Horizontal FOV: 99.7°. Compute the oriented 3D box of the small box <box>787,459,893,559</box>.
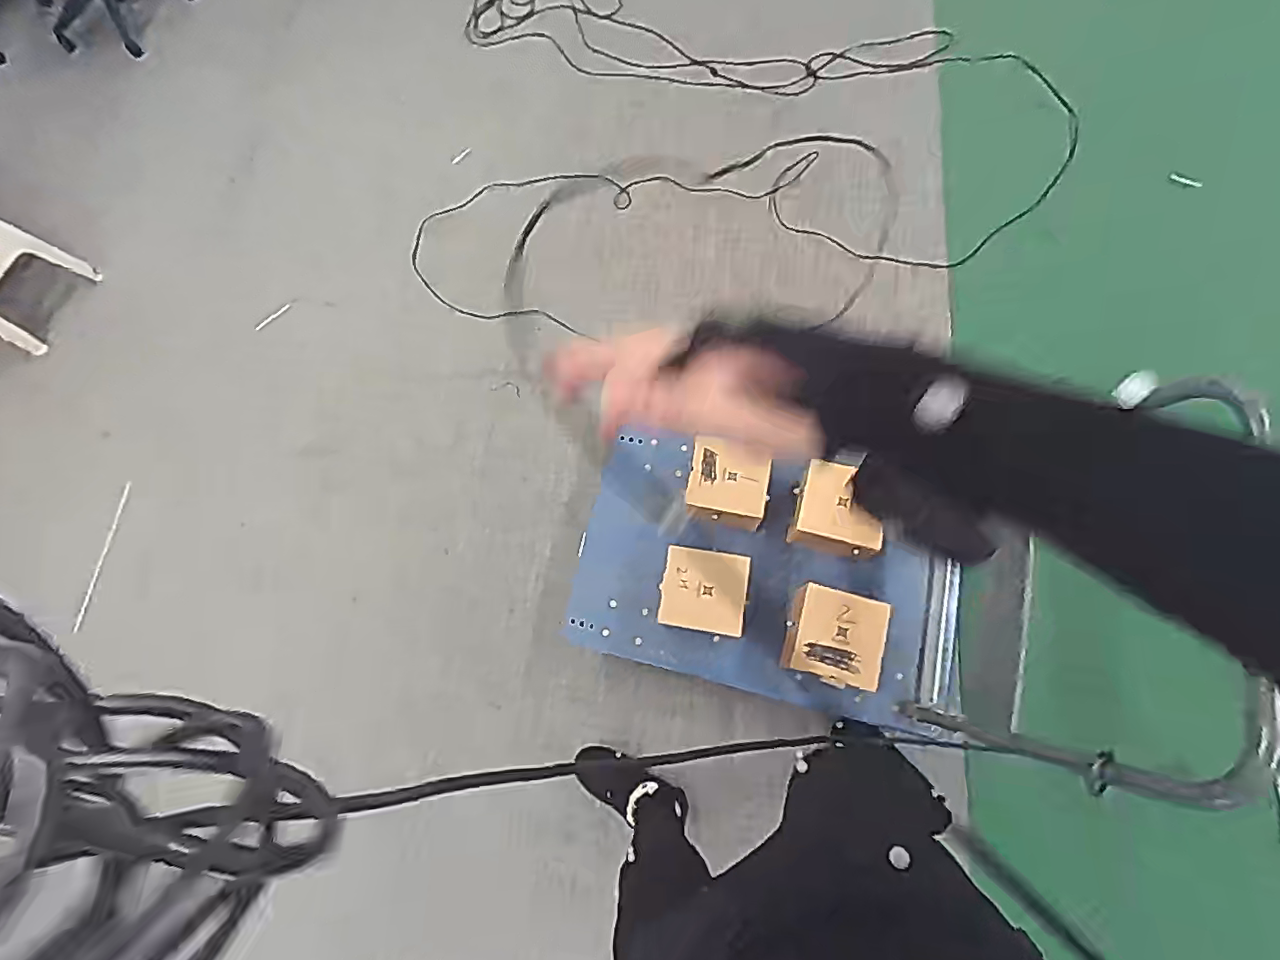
[{"bbox_3d":[0.440,0.071,1.216,0.179,0.176,0.168,14,76,10],"label":"small box"}]

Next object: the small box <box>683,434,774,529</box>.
[{"bbox_3d":[0.201,0.010,1.257,0.179,0.176,0.168,11,76,8],"label":"small box"}]

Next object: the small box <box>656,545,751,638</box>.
[{"bbox_3d":[0.140,0.249,1.195,0.179,0.176,0.168,8,75,8],"label":"small box"}]
